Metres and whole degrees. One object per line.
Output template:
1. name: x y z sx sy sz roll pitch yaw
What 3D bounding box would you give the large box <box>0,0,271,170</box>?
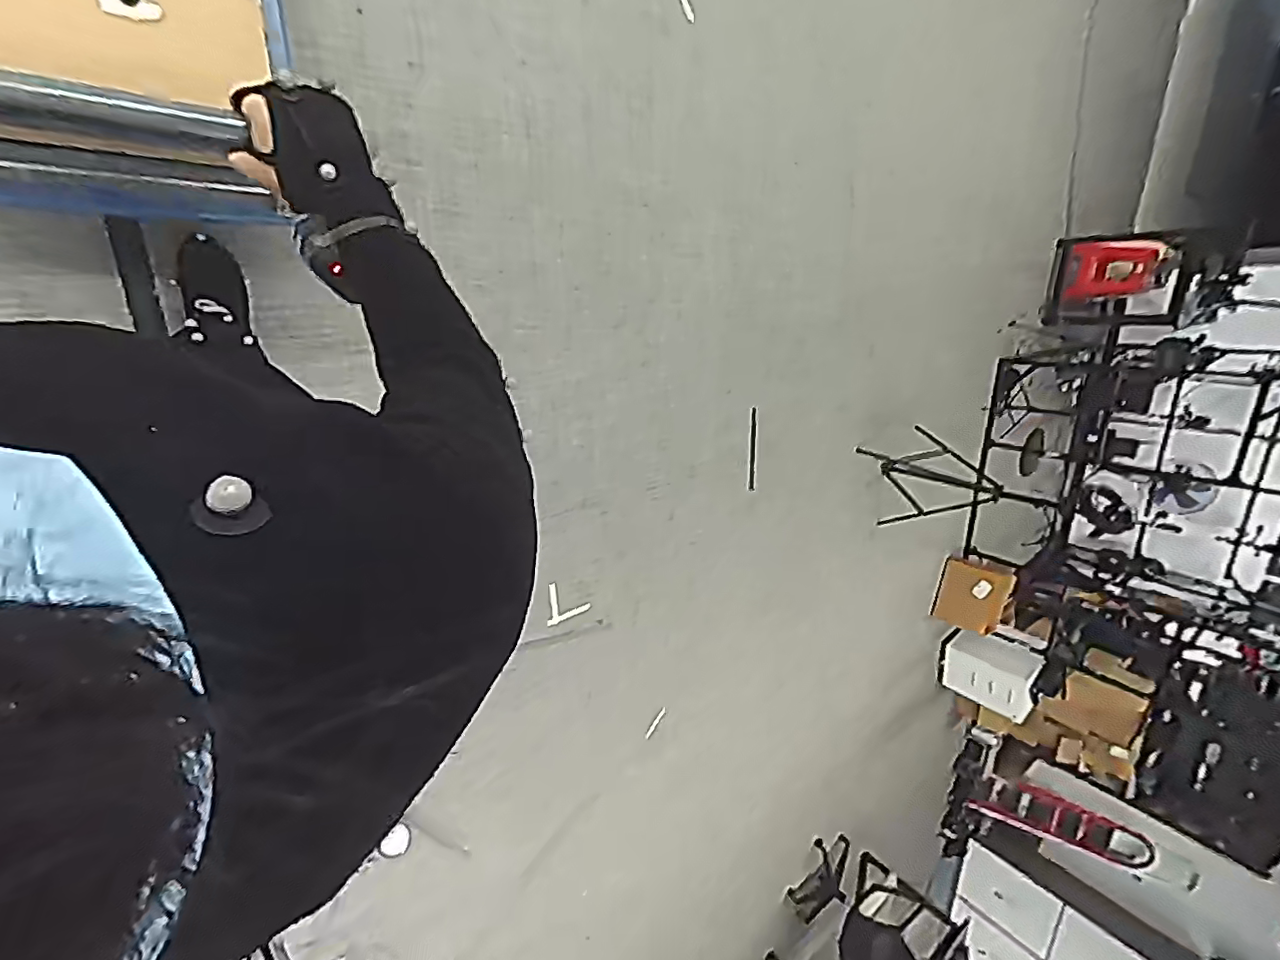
1. large box: -0.765 -0.628 0.700 0.408 0.320 0.320 -14 113 -37
